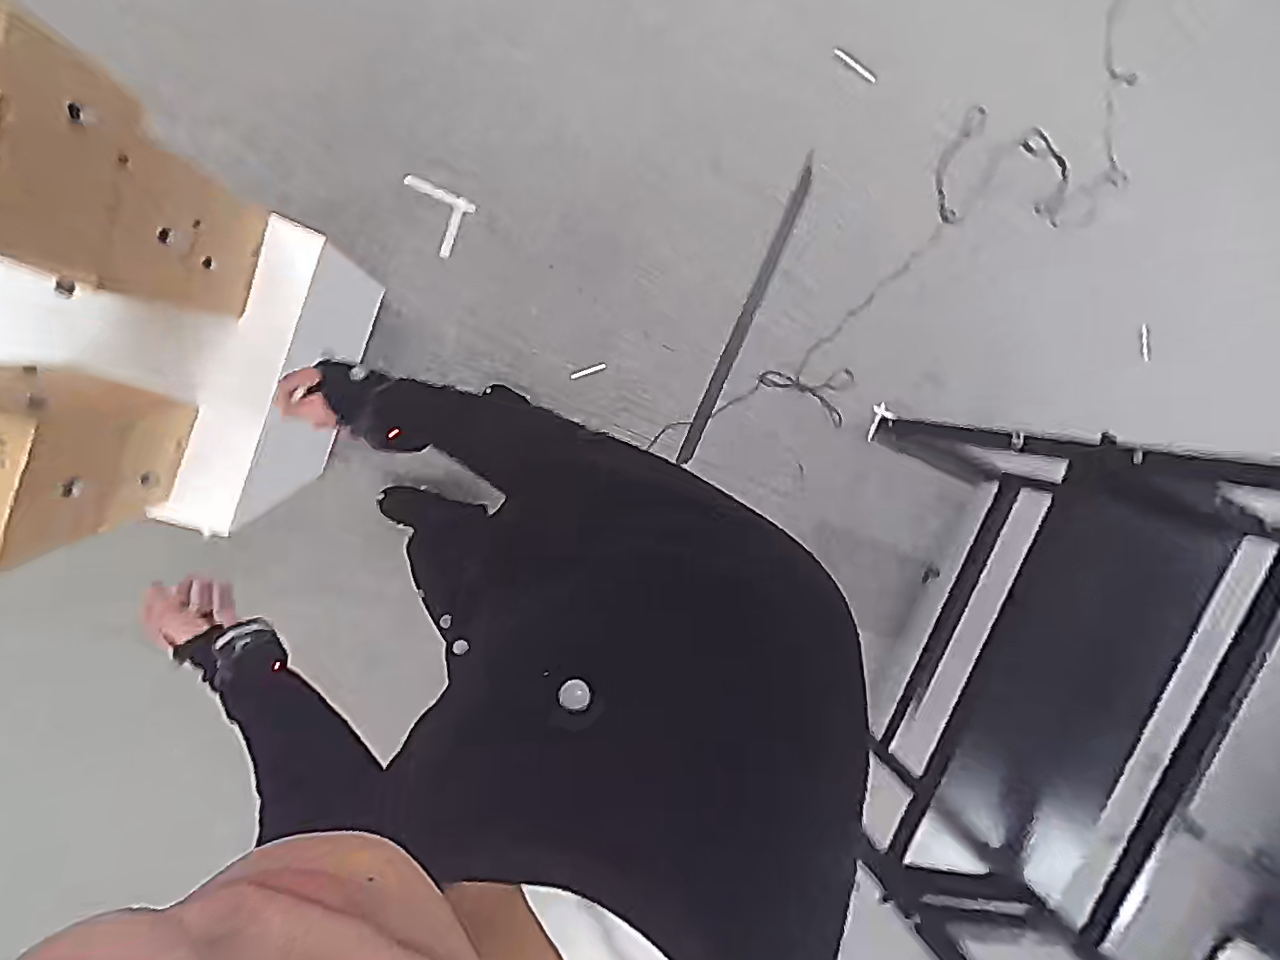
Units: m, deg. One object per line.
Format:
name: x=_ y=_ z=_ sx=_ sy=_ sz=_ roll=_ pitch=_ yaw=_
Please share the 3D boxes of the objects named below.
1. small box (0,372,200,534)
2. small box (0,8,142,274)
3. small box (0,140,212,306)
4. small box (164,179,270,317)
small box: x=-0.764 y=-0.046 z=0.749 sx=0.179 sy=0.176 sz=0.168 roll=20 pitch=95 yaw=-18
small box: x=-0.539 y=-0.271 z=0.415 sx=0.179 sy=0.176 sz=0.168 roll=13 pitch=98 yaw=-18
small box: x=-0.598 y=-0.294 z=0.566 sx=0.179 sy=0.176 sz=0.168 roll=18 pitch=97 yaw=-18
small box: x=-0.641 y=-0.328 z=0.722 sx=0.179 sy=0.176 sz=0.168 roll=17 pitch=98 yaw=-18
